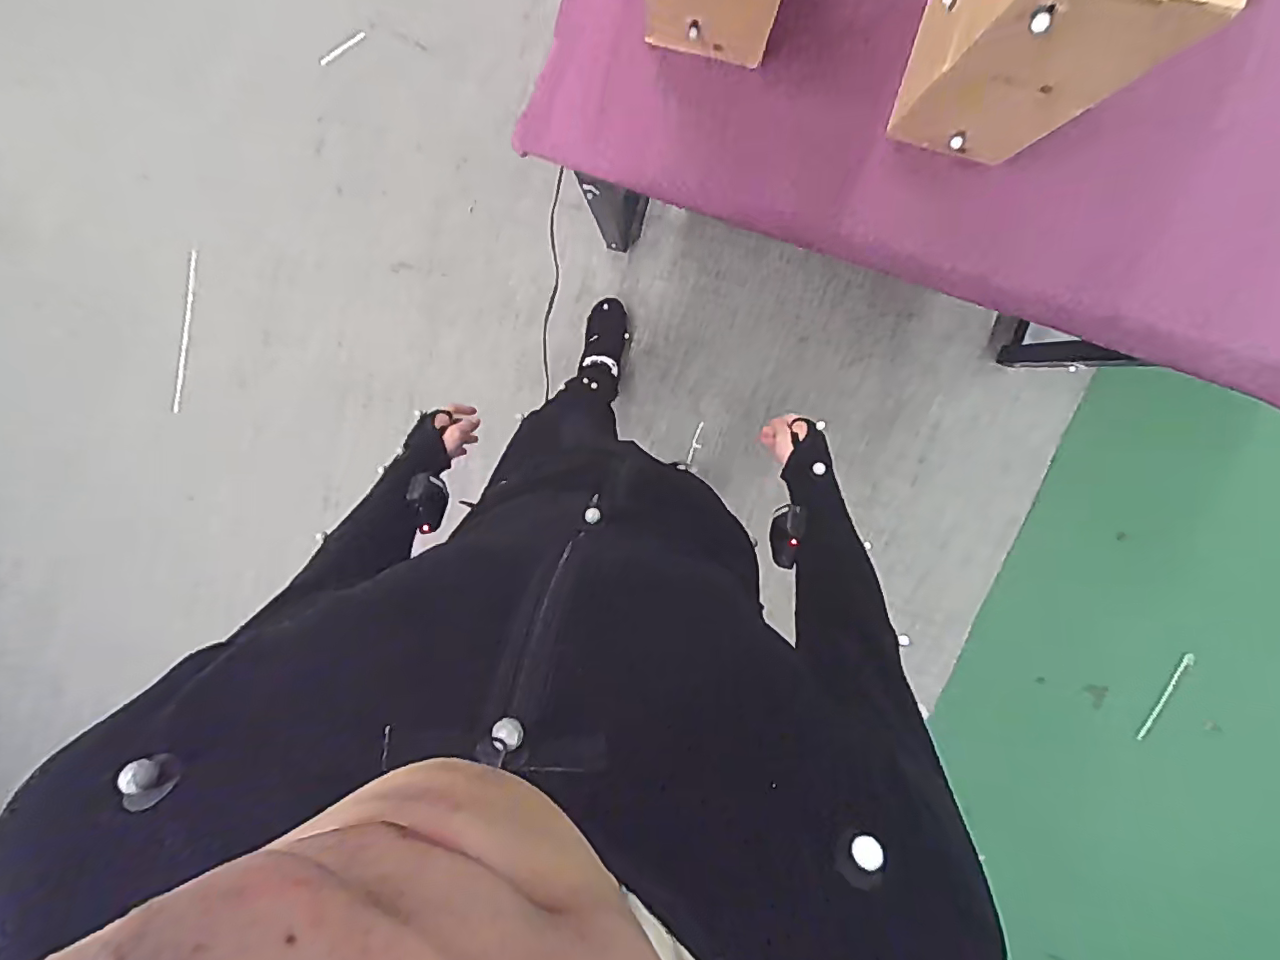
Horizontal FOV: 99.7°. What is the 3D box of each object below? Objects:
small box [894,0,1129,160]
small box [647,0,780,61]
[{"bbox_3d":[0.442,-0.532,0.660,0.168,0.176,0.179,15,101,0],"label":"small box"},{"bbox_3d":[0.101,-0.660,0.650,0.168,0.176,0.179,12,102,0],"label":"small box"}]
